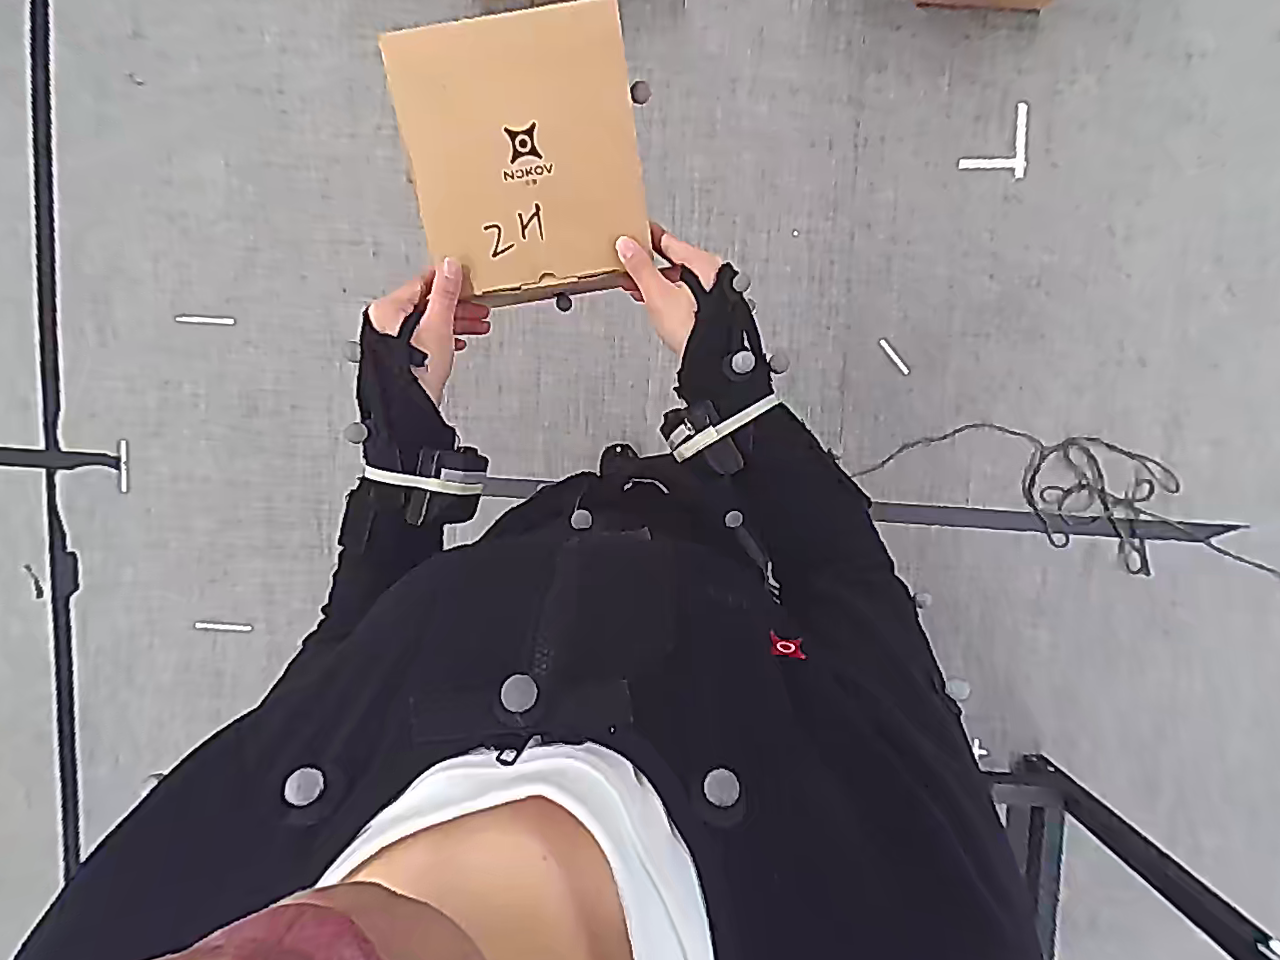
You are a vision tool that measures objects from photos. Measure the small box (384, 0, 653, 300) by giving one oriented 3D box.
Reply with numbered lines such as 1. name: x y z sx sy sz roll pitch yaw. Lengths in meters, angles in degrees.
1. small box: -0.086 -0.260 0.463 0.168 0.176 0.179 -9 106 0
